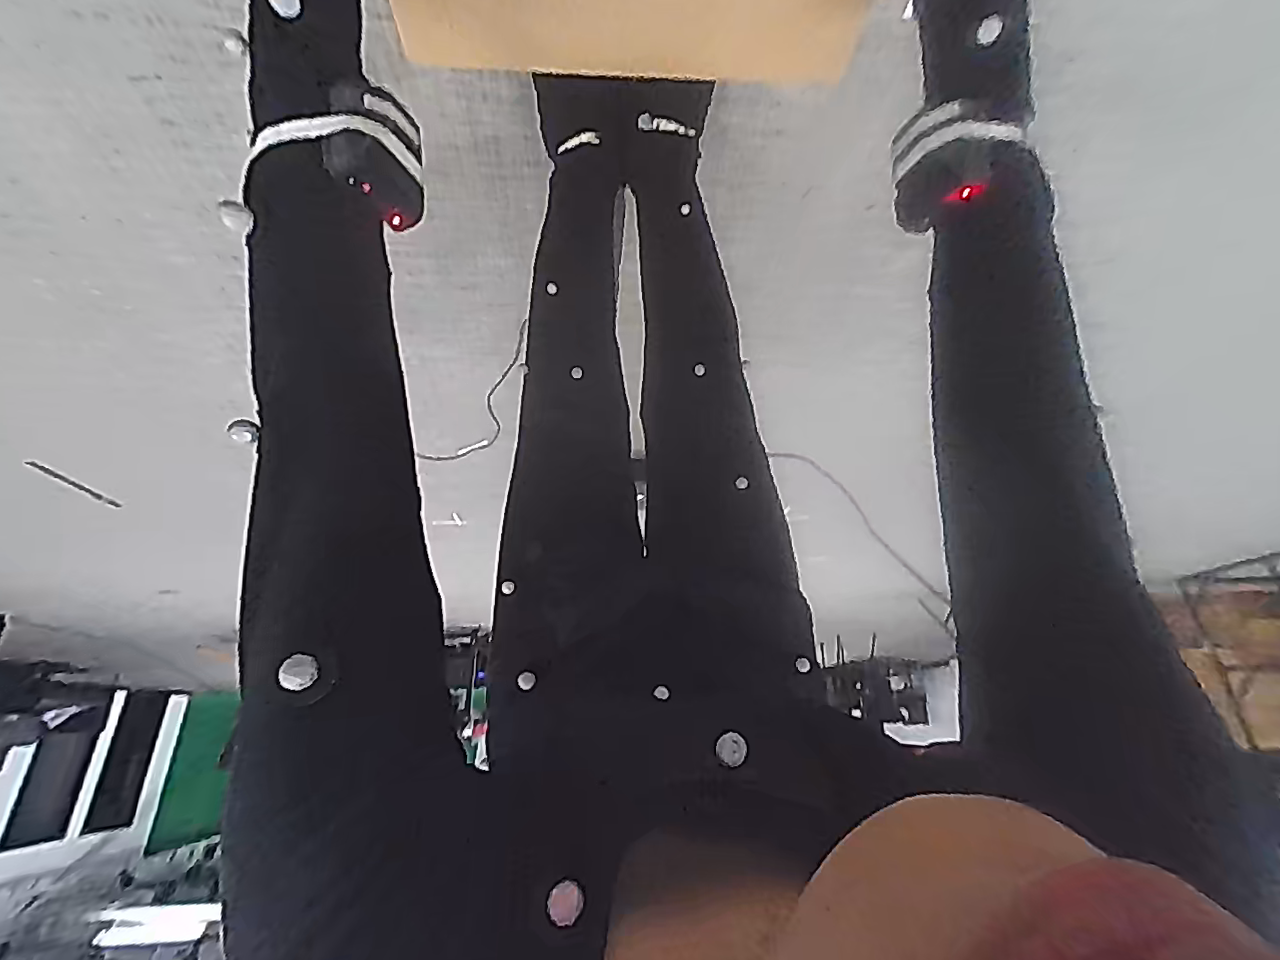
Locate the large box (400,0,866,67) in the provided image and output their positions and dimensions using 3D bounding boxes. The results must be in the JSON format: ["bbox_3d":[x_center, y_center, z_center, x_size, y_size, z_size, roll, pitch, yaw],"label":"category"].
[{"bbox_3d":[-0.007,-0.583,0.423,0.408,0.320,0.320,-2,156,-5],"label":"large box"}]
